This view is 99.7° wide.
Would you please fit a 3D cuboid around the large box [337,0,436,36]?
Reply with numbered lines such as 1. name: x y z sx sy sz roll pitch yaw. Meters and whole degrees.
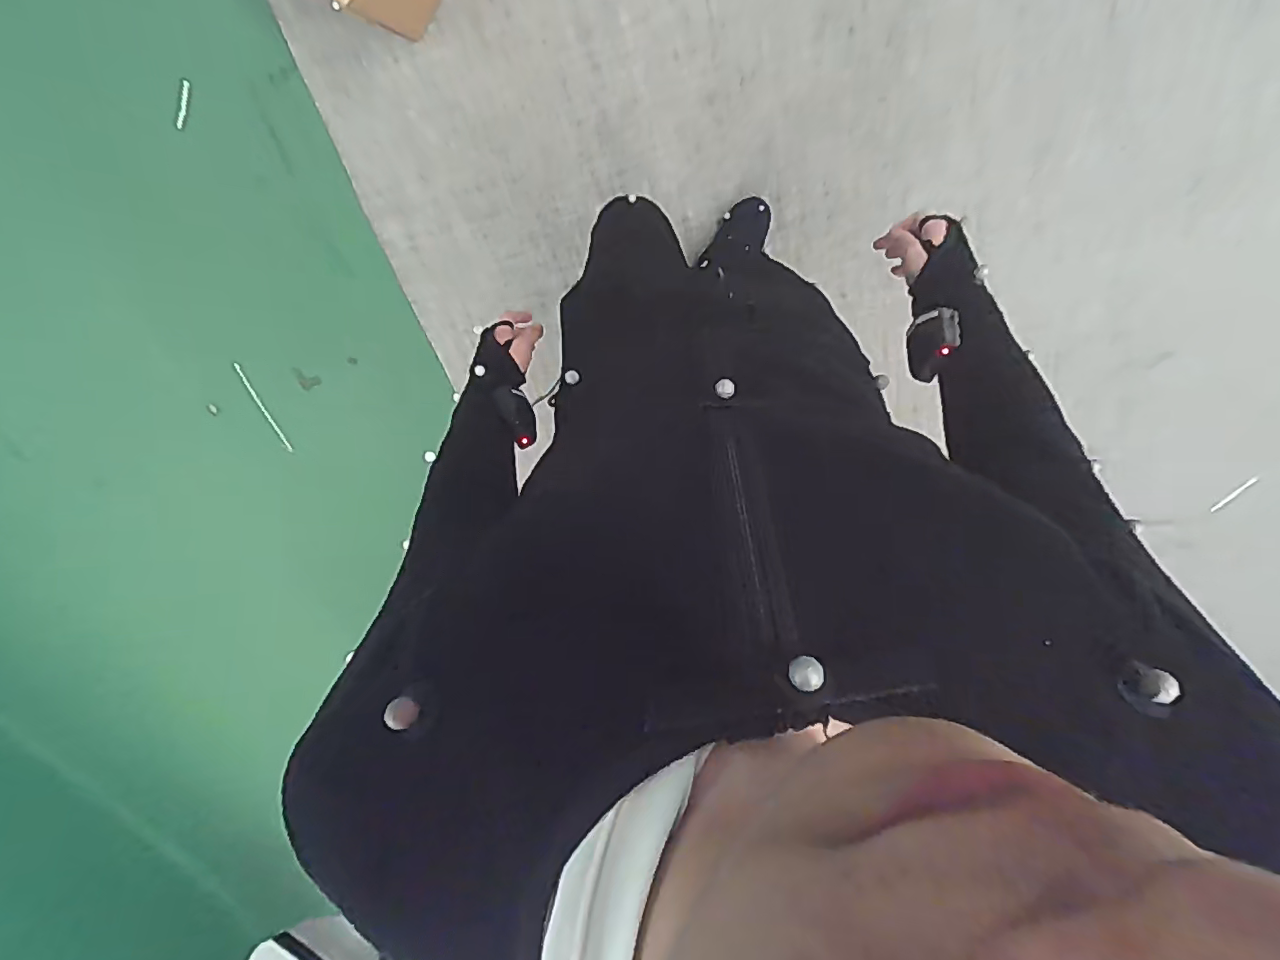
1. large box: -0.510 -1.157 0.994 0.320 0.320 0.408 40 117 -15
